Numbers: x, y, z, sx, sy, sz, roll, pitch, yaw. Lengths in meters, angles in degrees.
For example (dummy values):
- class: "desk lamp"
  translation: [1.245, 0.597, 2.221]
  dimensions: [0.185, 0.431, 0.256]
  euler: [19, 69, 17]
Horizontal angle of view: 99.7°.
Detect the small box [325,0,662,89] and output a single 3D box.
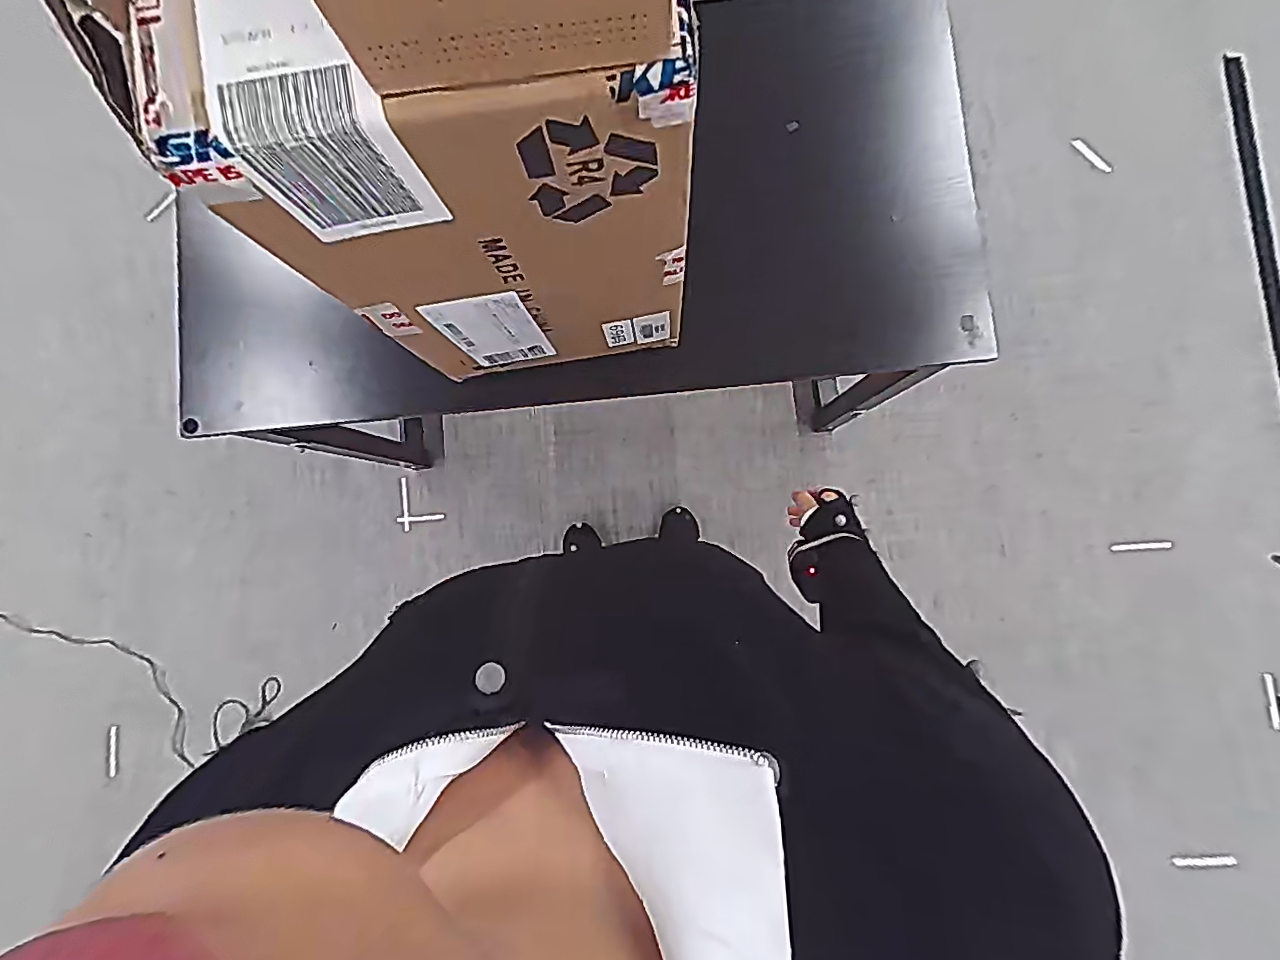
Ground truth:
- class: "small box"
  translation: [-0.078, -0.322, 0.243]
  dimensions: [0.179, 0.176, 0.168]
  euler: [-7, 85, 2]
